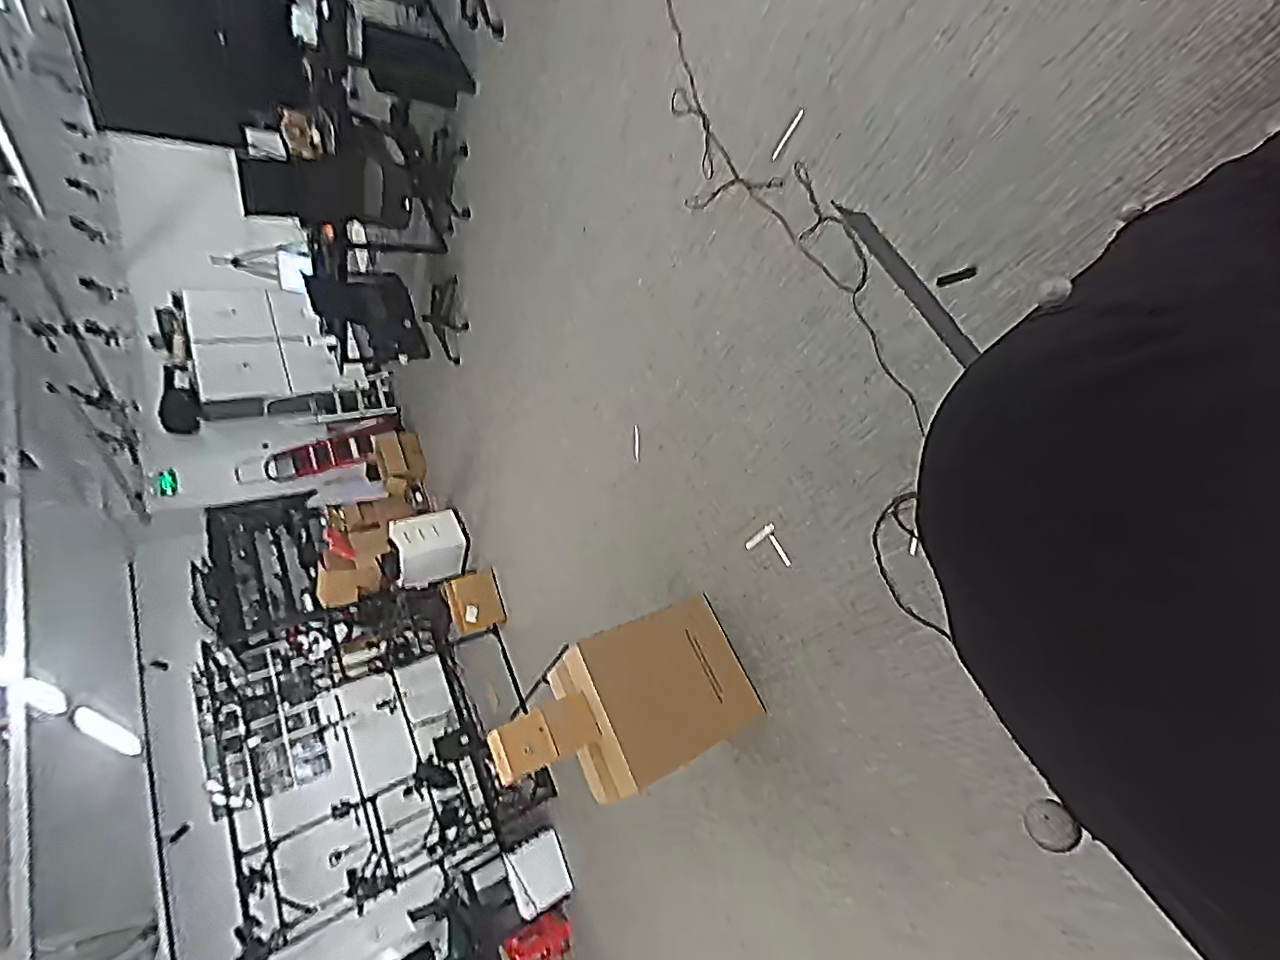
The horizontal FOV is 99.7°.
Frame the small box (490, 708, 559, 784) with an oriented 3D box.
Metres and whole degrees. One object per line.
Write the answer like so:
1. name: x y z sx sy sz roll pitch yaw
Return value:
1. small box: -0.396 0.912 1.861 0.168 0.176 0.179 61 144 23
